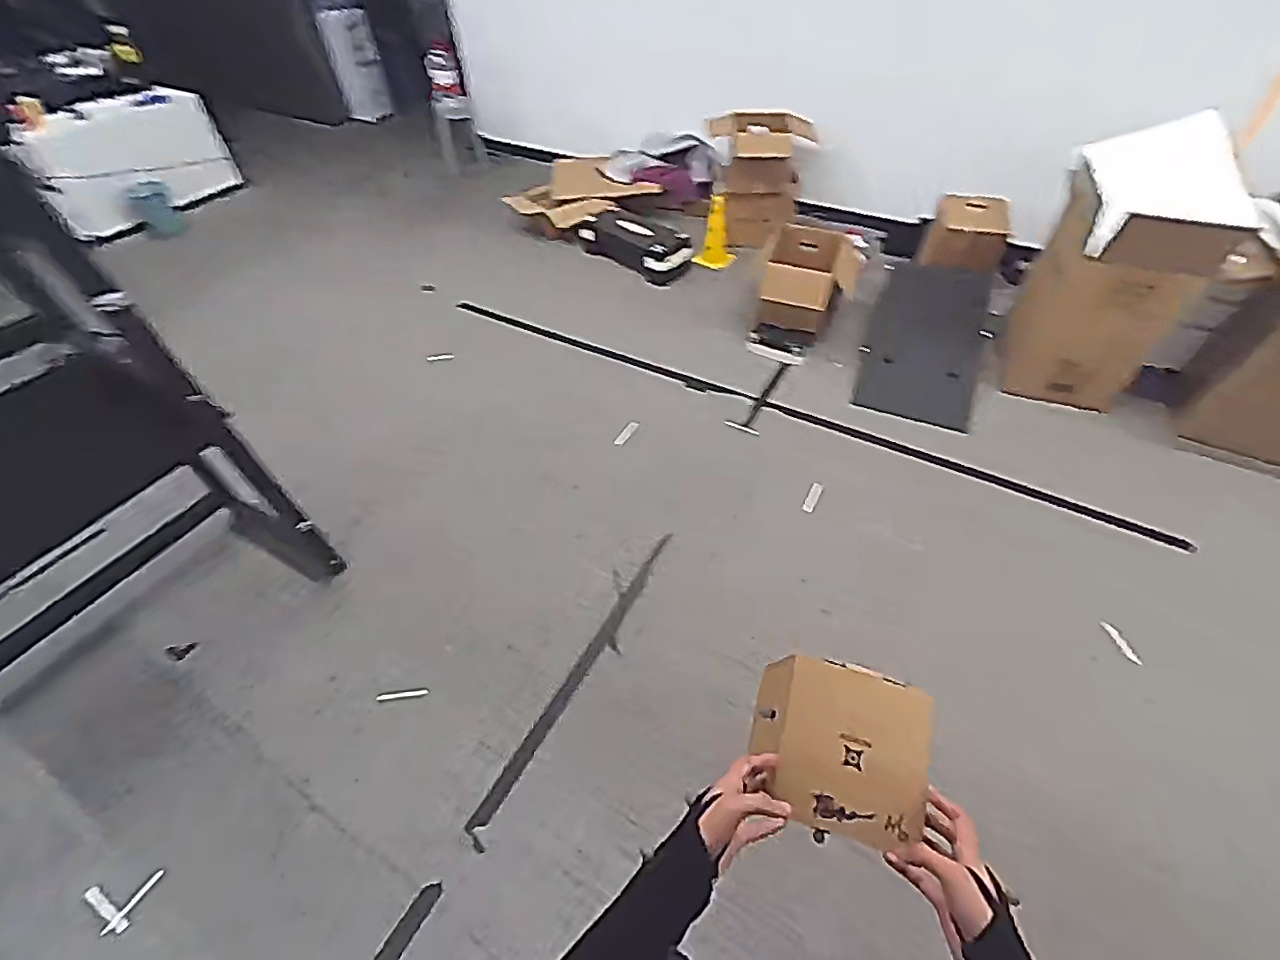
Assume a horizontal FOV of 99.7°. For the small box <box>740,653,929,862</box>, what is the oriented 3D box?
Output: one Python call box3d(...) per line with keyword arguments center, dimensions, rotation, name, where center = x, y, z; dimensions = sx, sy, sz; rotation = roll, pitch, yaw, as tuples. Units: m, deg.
box3d(center=(0.234, 0.337, 0.679), dimensions=(0.168, 0.176, 0.179), rotation=(16, 66, 5), name="small box")
